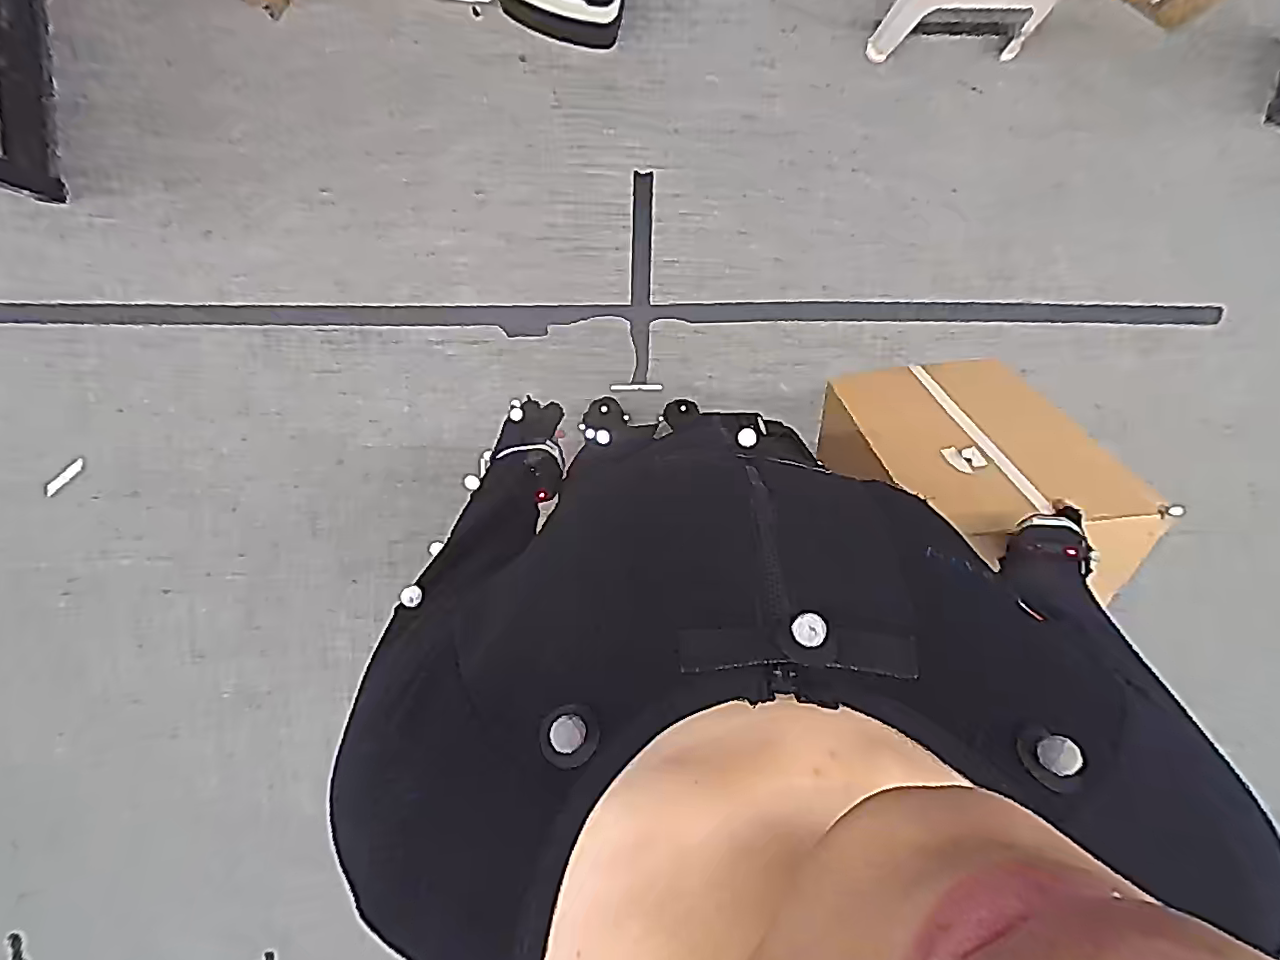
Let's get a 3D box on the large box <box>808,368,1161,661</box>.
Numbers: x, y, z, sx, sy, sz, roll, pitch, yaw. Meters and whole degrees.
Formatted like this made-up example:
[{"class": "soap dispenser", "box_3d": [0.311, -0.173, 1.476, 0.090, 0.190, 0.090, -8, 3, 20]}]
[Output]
[{"class": "large box", "box_3d": [0.524, 0.048, 0.948, 0.320, 0.408, 0.320, -6, 132, 0]}]
